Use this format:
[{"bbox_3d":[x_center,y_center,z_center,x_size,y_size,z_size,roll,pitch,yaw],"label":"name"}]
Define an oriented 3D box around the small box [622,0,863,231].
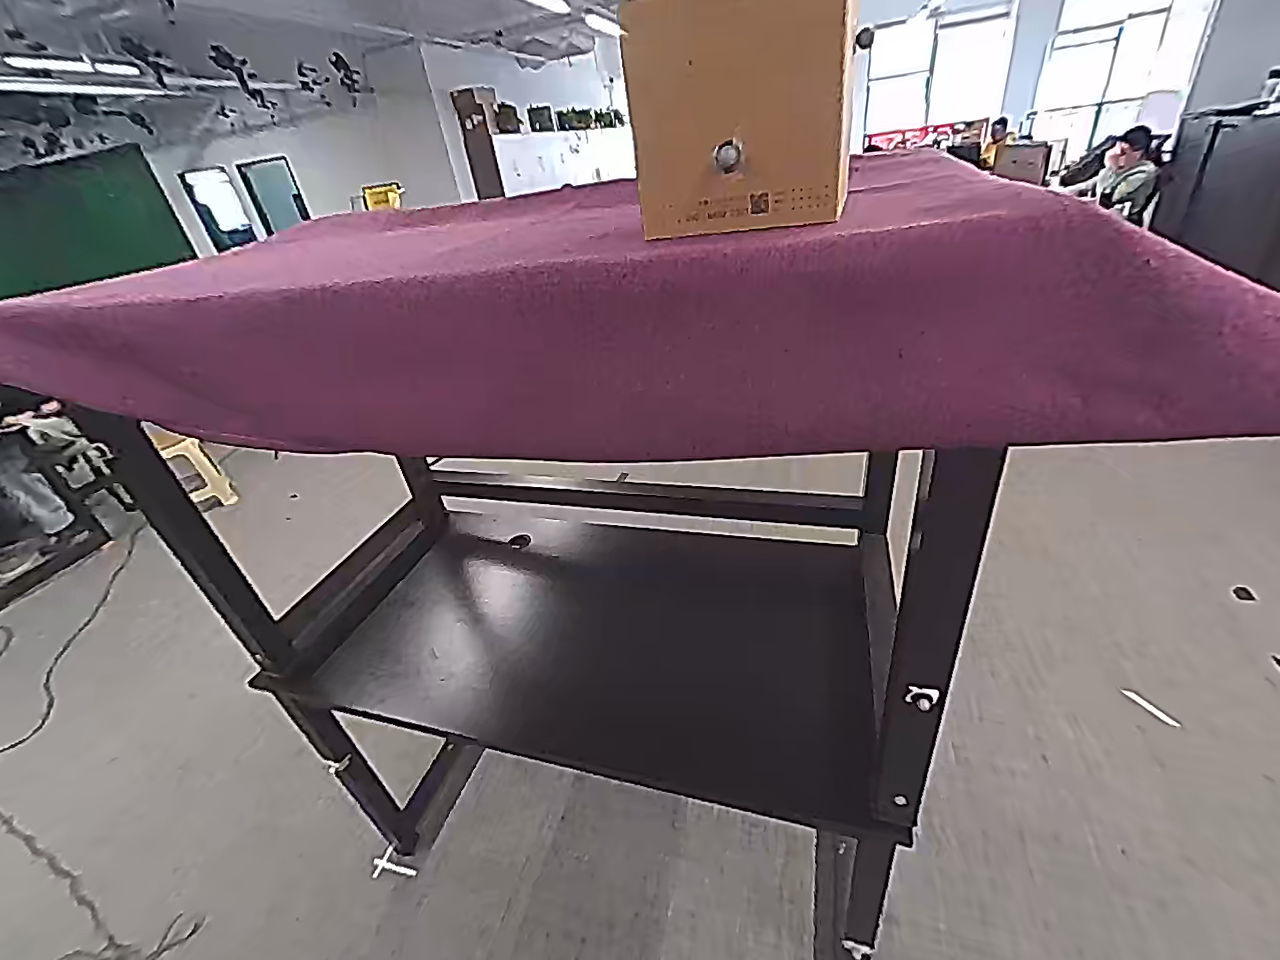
[{"bbox_3d":[0.099,-0.323,0.474,0.168,0.176,0.179,4,33,21],"label":"small box"}]
